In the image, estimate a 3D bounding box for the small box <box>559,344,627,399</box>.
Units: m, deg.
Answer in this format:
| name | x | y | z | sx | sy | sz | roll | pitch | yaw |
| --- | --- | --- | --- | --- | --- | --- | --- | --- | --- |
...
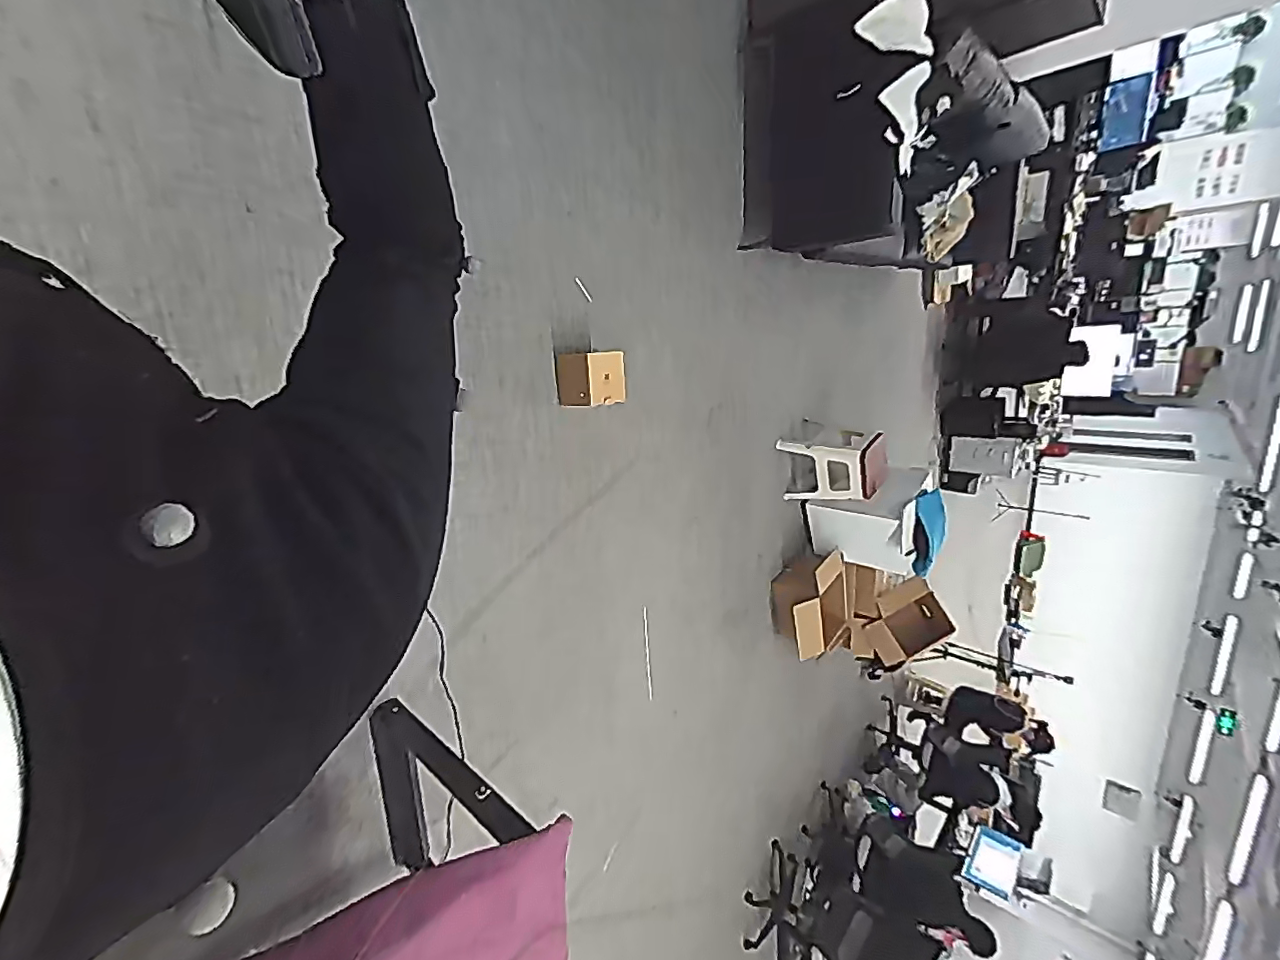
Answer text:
| name | x | y | z | sx | sy | sz | roll | pitch | yaw |
| --- | --- | --- | --- | --- | --- | --- | --- | --- | --- |
| small box | -0.165 | -0.374 | 1.866 | 0.168 | 0.176 | 0.179 | -17 | 111 | -44 |
